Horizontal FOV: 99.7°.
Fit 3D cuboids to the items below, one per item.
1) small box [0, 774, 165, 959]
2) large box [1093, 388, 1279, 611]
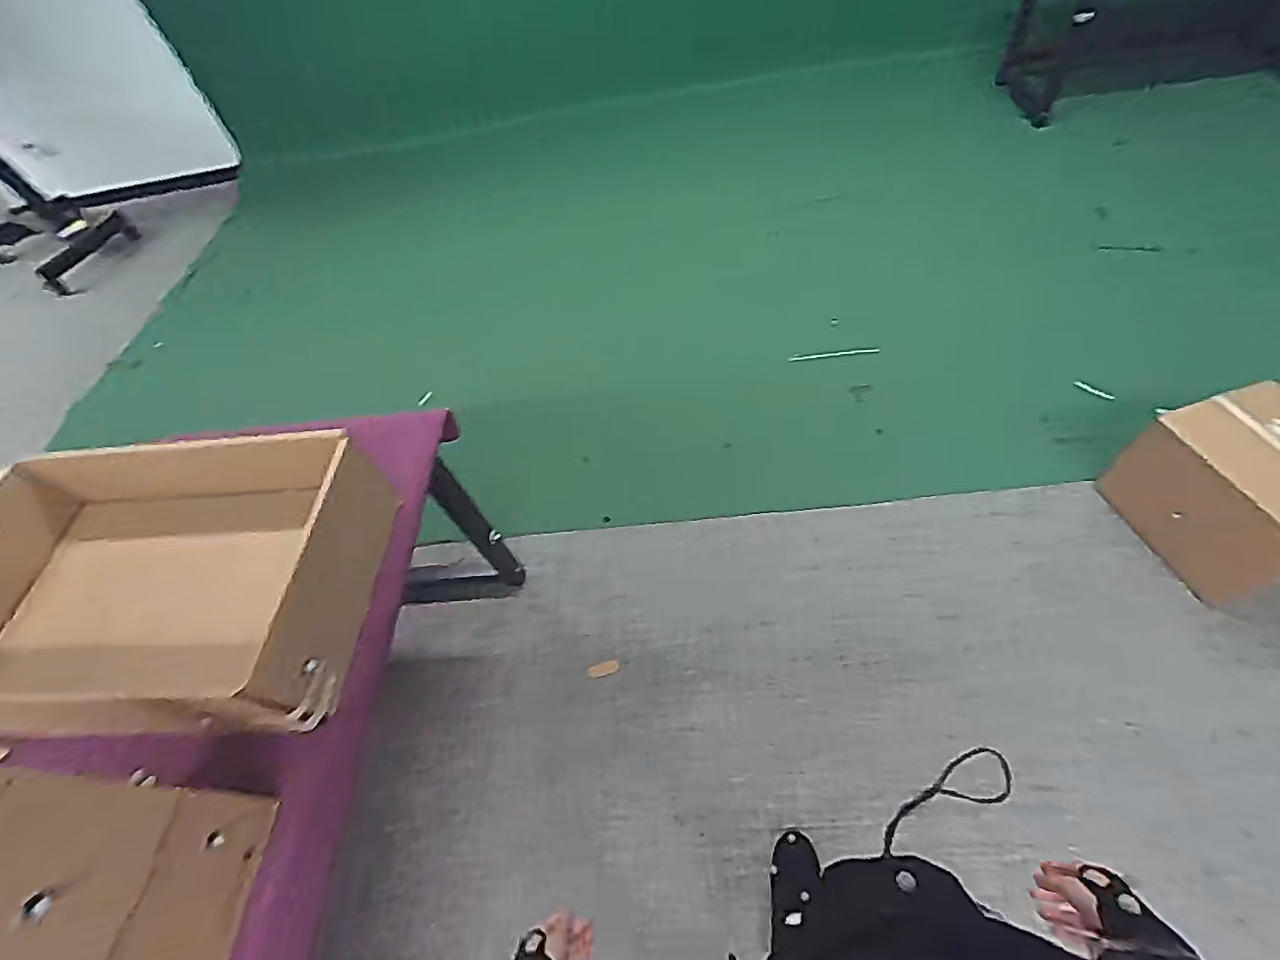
[{"bbox_3d":[-0.589,0.372,0.480,0.168,0.176,0.179,-5,54,8],"label":"small box"},{"bbox_3d":[1.487,0.050,1.347,0.320,0.320,0.408,-17,53,-3],"label":"large box"}]
